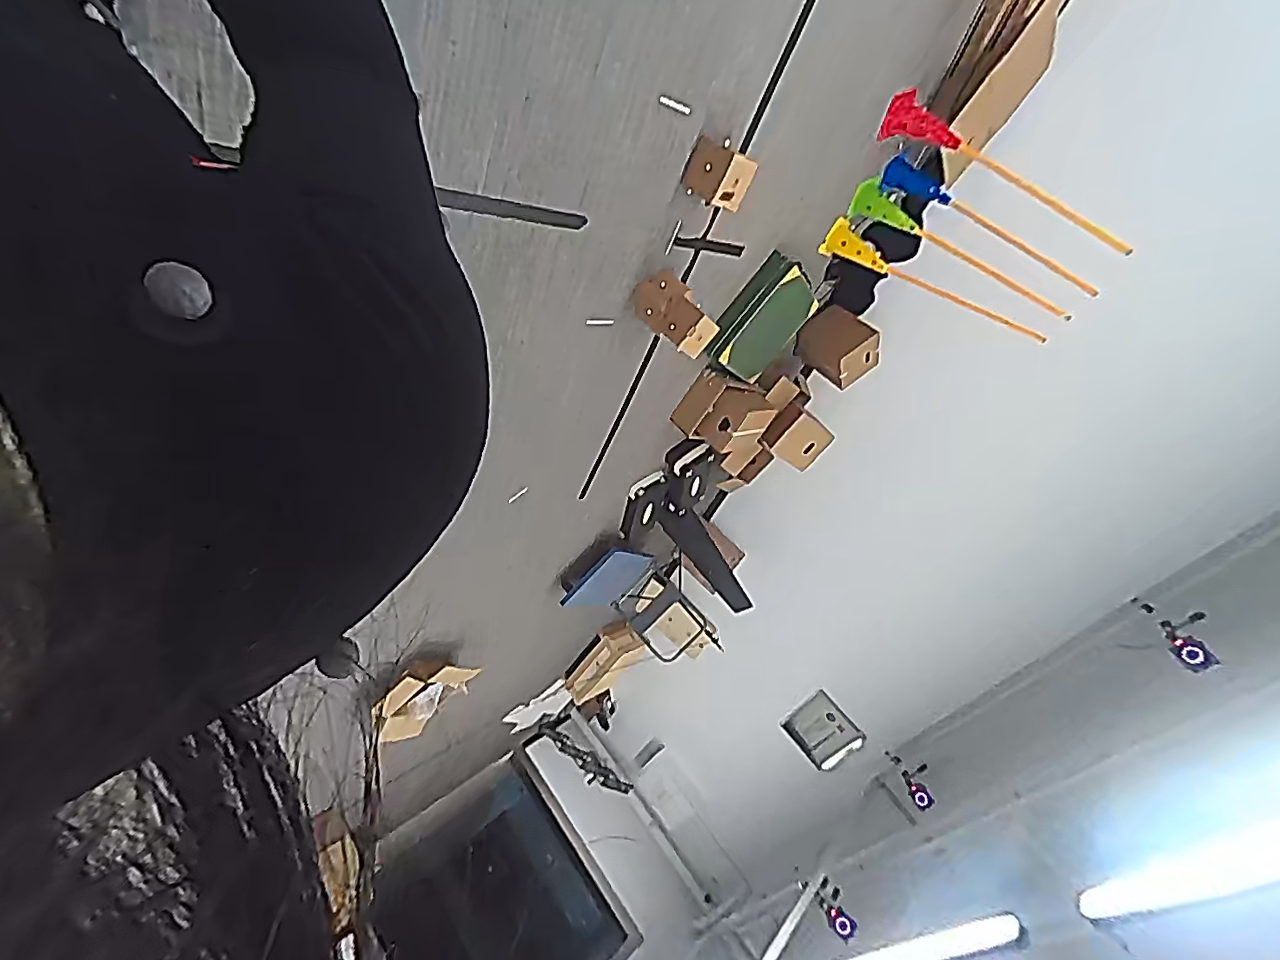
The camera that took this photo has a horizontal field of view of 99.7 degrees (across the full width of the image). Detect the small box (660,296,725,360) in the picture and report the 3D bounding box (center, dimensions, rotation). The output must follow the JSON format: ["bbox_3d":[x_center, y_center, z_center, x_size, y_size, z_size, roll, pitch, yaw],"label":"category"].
[{"bbox_3d":[0.213,-0.627,2.223,0.168,0.176,0.179,-48,156,16],"label":"small box"}]

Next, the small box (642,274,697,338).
[{"bbox_3d":[0.122,-0.746,2.295,0.168,0.176,0.179,-36,156,-15],"label":"small box"}]

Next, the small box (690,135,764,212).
[{"bbox_3d":[0.308,-1.110,1.964,0.168,0.176,0.179,-16,144,-46],"label":"small box"}]
